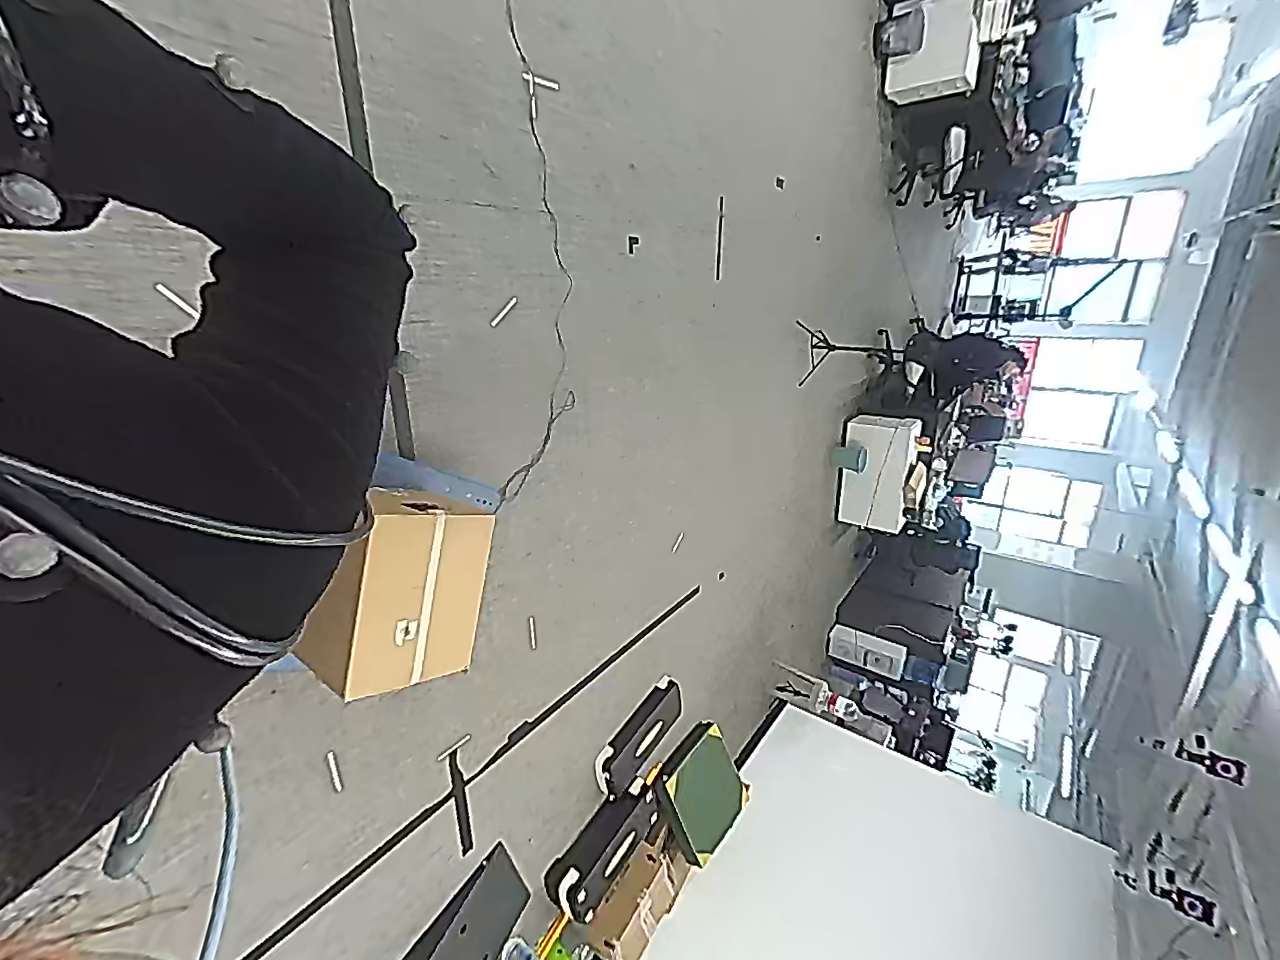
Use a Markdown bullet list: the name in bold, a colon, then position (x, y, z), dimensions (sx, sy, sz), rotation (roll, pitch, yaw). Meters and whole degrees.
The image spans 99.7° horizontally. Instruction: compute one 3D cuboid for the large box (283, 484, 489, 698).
- **large box**: position (-0.611, 0.236, 1.307), dimensions (0.320, 0.320, 0.408), rotation (6, 97, -53)
